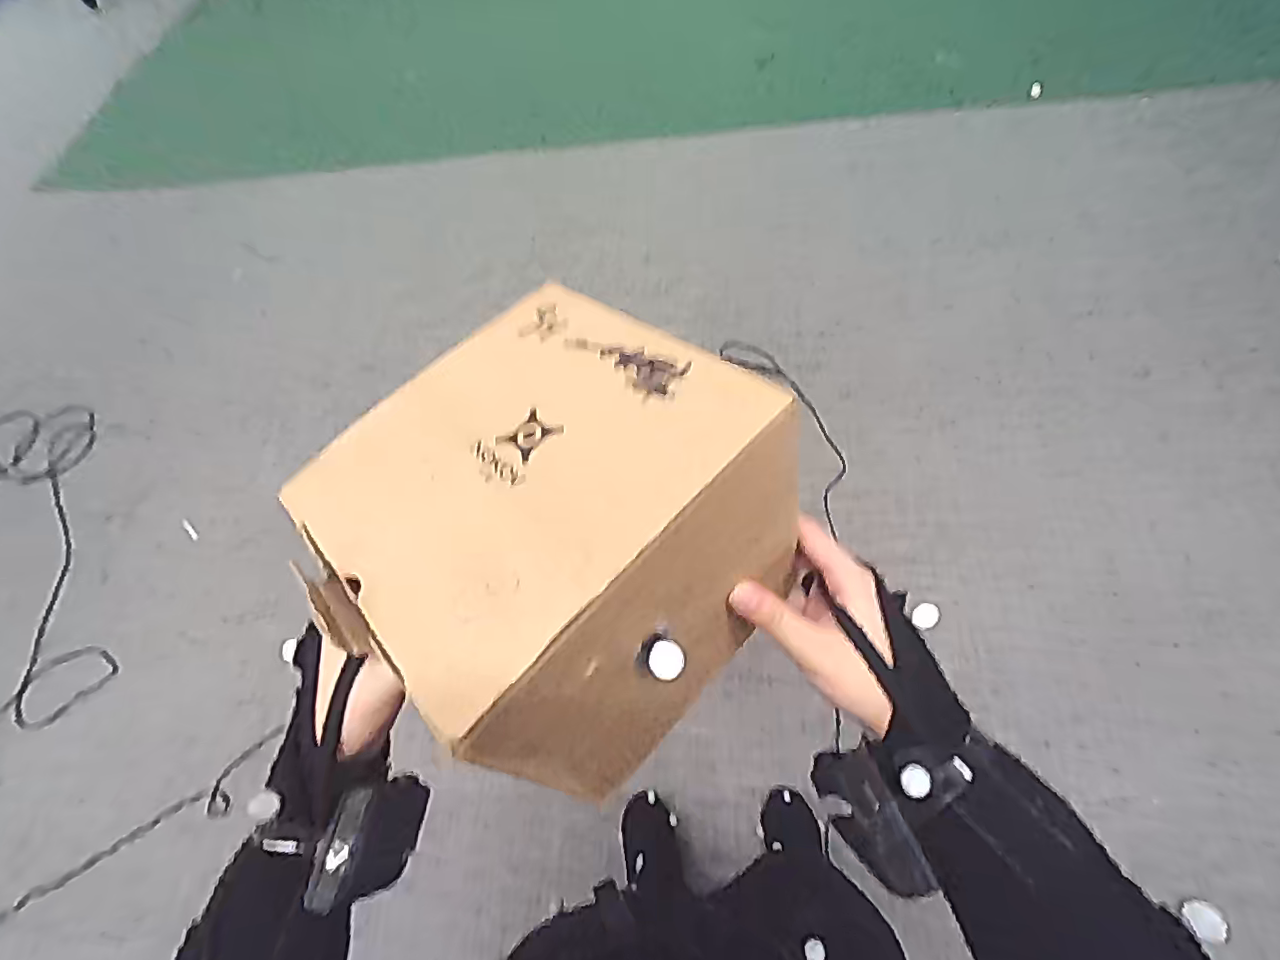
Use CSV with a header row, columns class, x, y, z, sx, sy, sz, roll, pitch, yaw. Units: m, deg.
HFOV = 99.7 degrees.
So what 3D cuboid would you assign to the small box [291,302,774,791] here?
class,x,y,z,sx,sy,sz,roll,pitch,yaw
small box,-0.038,0.040,0.304,0.179,0.176,0.168,-44,55,-16
